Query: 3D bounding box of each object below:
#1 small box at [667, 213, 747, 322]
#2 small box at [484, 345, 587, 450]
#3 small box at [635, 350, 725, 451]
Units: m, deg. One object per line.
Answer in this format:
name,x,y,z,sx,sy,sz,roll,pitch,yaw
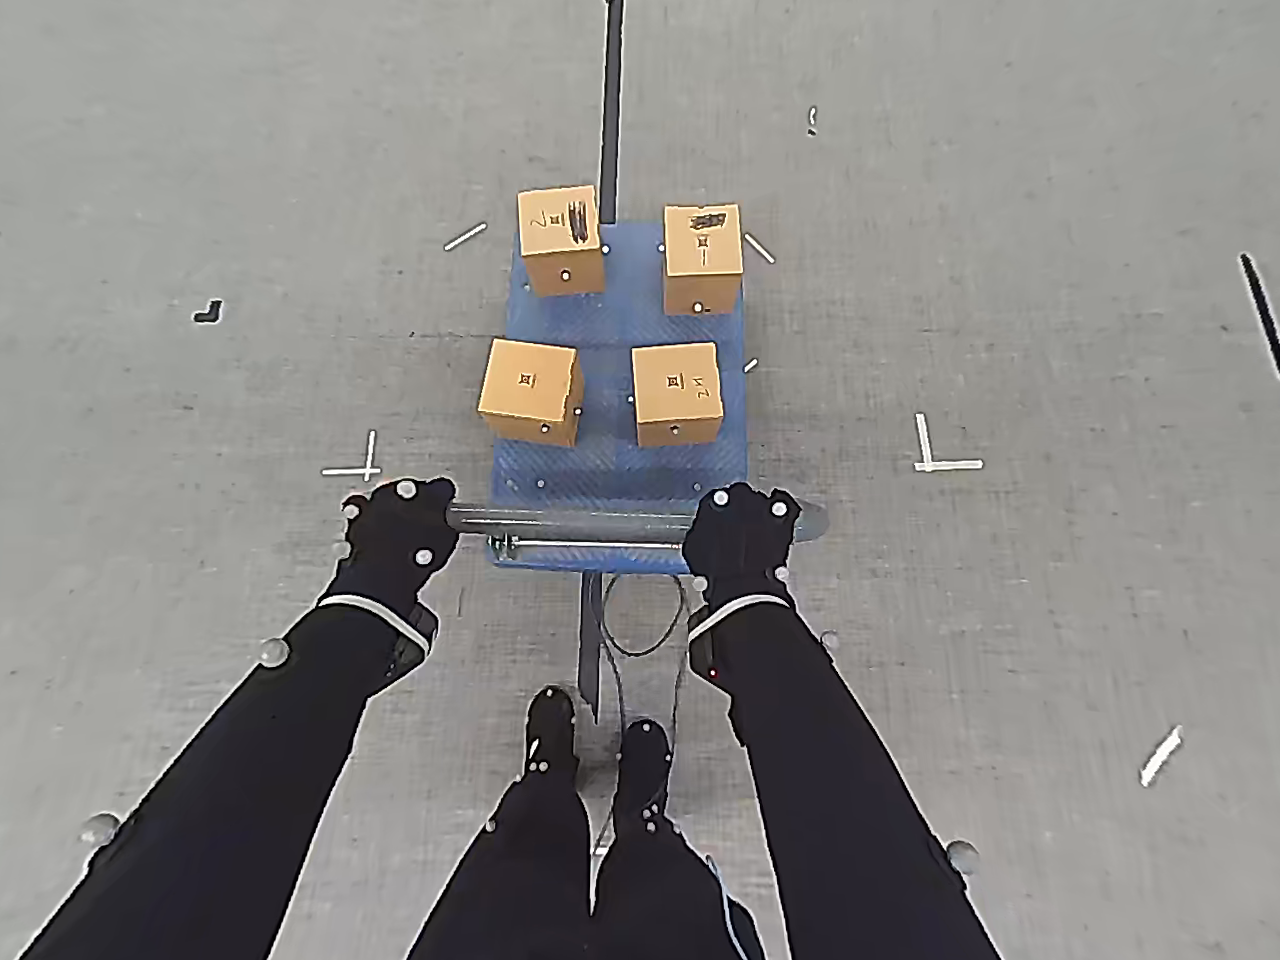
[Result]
small box,0.149,-0.491,1.260,0.168,0.176,0.179,-1,77,1
small box,-0.221,-0.175,1.187,0.179,0.176,0.168,8,76,1
small box,0.083,-0.166,1.180,0.179,0.176,0.168,-4,76,0
